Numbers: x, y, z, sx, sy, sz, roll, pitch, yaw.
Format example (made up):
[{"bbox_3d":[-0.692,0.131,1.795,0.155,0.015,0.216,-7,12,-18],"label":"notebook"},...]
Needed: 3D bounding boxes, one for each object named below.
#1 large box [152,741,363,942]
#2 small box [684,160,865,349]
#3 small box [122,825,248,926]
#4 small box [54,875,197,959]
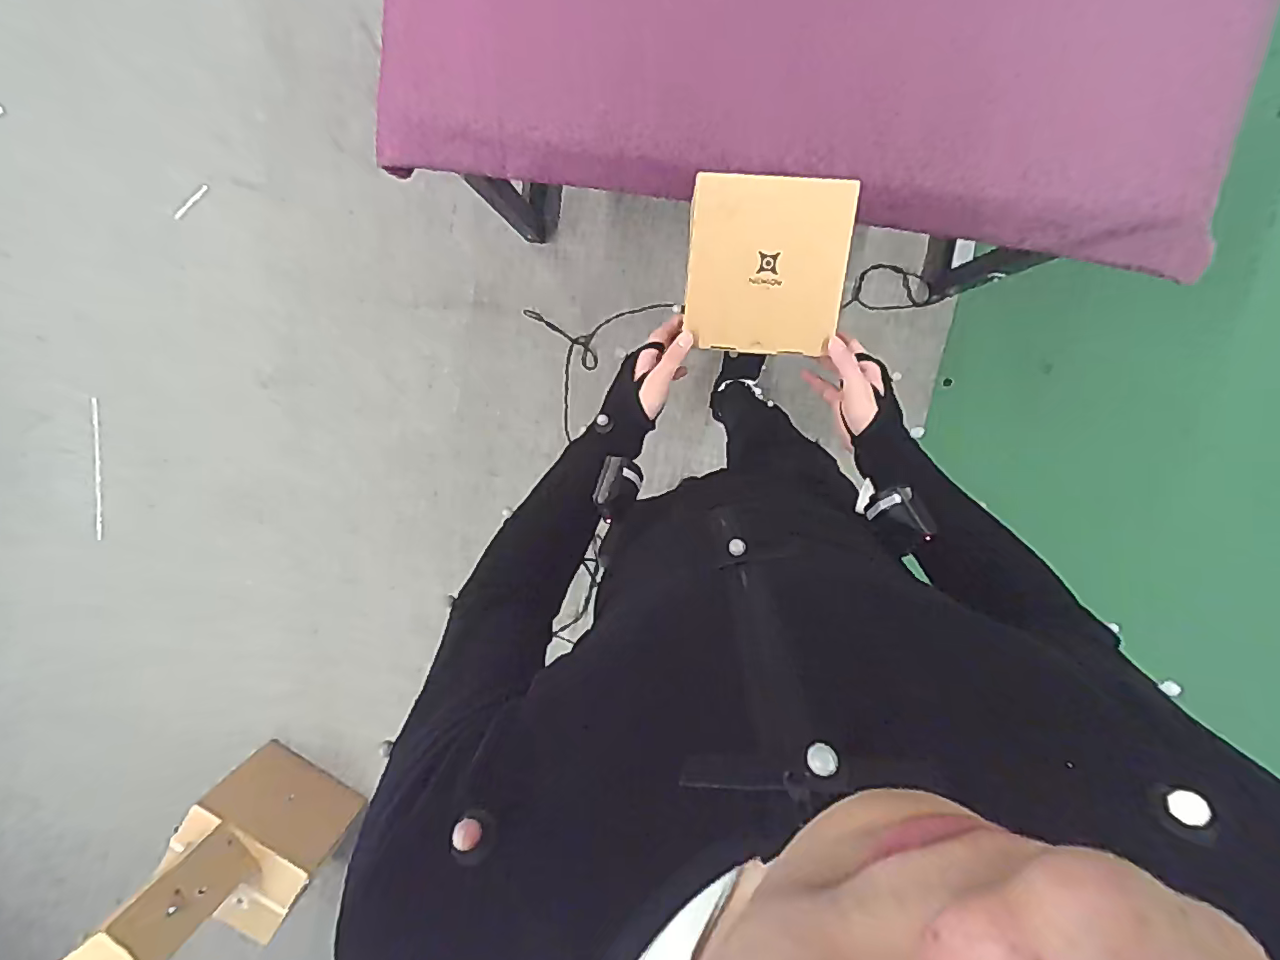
[{"bbox_3d":[-1.209,1.139,1.739,0.408,0.320,0.320,33,101,-3],"label":"large box"},{"bbox_3d":[0.143,-0.256,0.642,0.168,0.176,0.179,5,108,2],"label":"small box"},{"bbox_3d":[-1.243,1.109,1.487,0.179,0.176,0.168,-36,95,8],"label":"small box"},{"bbox_3d":[-1.256,1.132,1.323,0.179,0.176,0.168,-37,95,7],"label":"small box"}]
